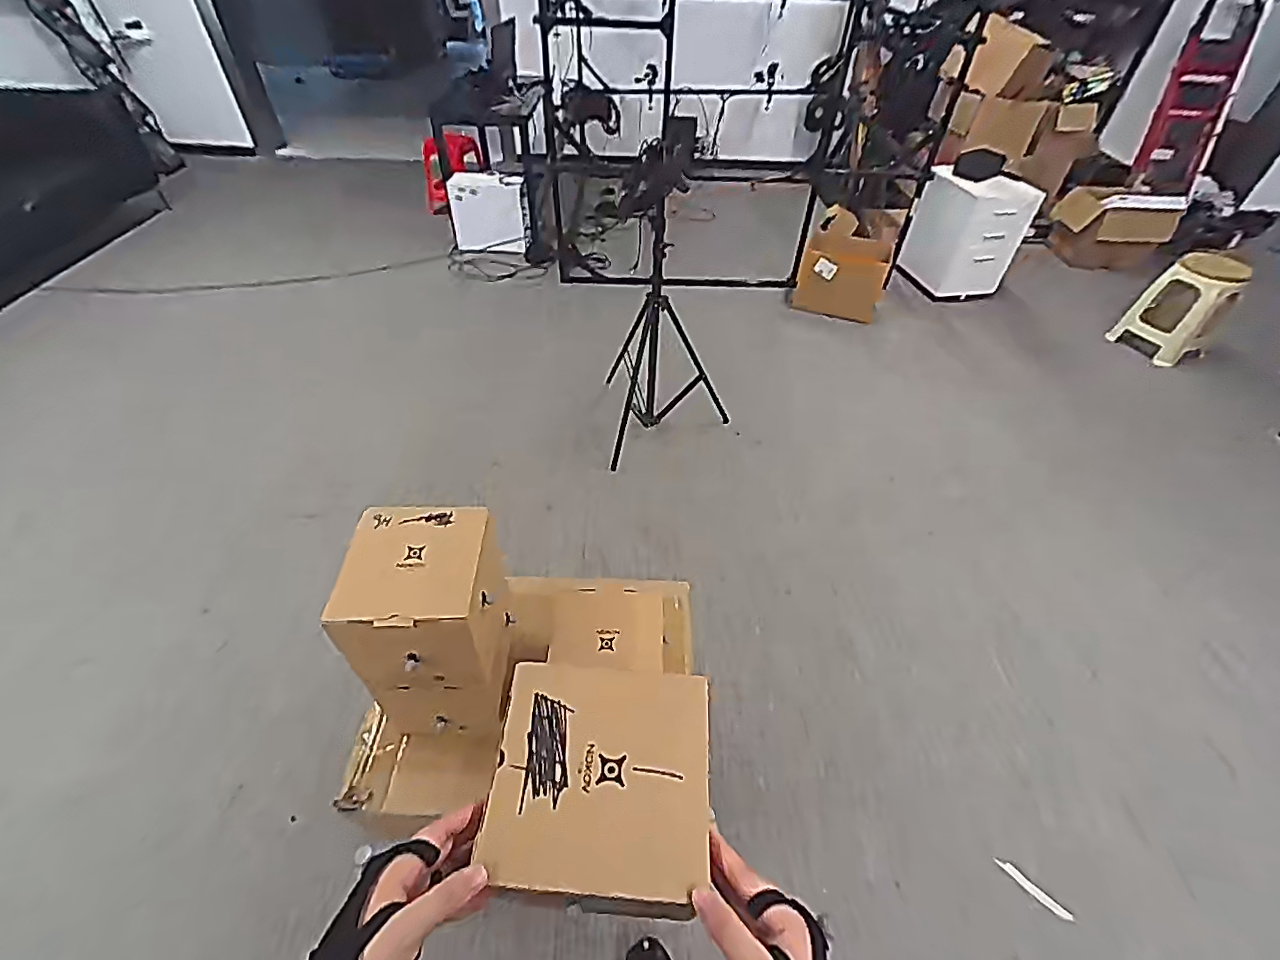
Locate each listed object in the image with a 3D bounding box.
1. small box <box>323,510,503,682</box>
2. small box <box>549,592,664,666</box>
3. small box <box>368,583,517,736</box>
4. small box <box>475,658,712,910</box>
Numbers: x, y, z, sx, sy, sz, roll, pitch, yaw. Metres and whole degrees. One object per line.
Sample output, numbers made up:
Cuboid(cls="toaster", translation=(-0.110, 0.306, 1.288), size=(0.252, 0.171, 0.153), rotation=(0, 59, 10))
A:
Cuboid(cls="small box", translation=(-0.286, 0.160, 0.730), size=(0.168, 0.176, 0.179), rotation=(0, 46, -4))
Cuboid(cls="small box", translation=(-0.048, 0.294, 0.841), size=(0.168, 0.176, 0.179), rotation=(0, 47, 1))
Cuboid(cls="small box", translation=(-0.291, 0.278, 0.845), size=(0.168, 0.176, 0.179), rotation=(1, 45, -3))
Cuboid(cls="small box", translation=(-0.031, 0.283, 0.501), size=(0.179, 0.176, 0.168), rotation=(4, 47, 1))
